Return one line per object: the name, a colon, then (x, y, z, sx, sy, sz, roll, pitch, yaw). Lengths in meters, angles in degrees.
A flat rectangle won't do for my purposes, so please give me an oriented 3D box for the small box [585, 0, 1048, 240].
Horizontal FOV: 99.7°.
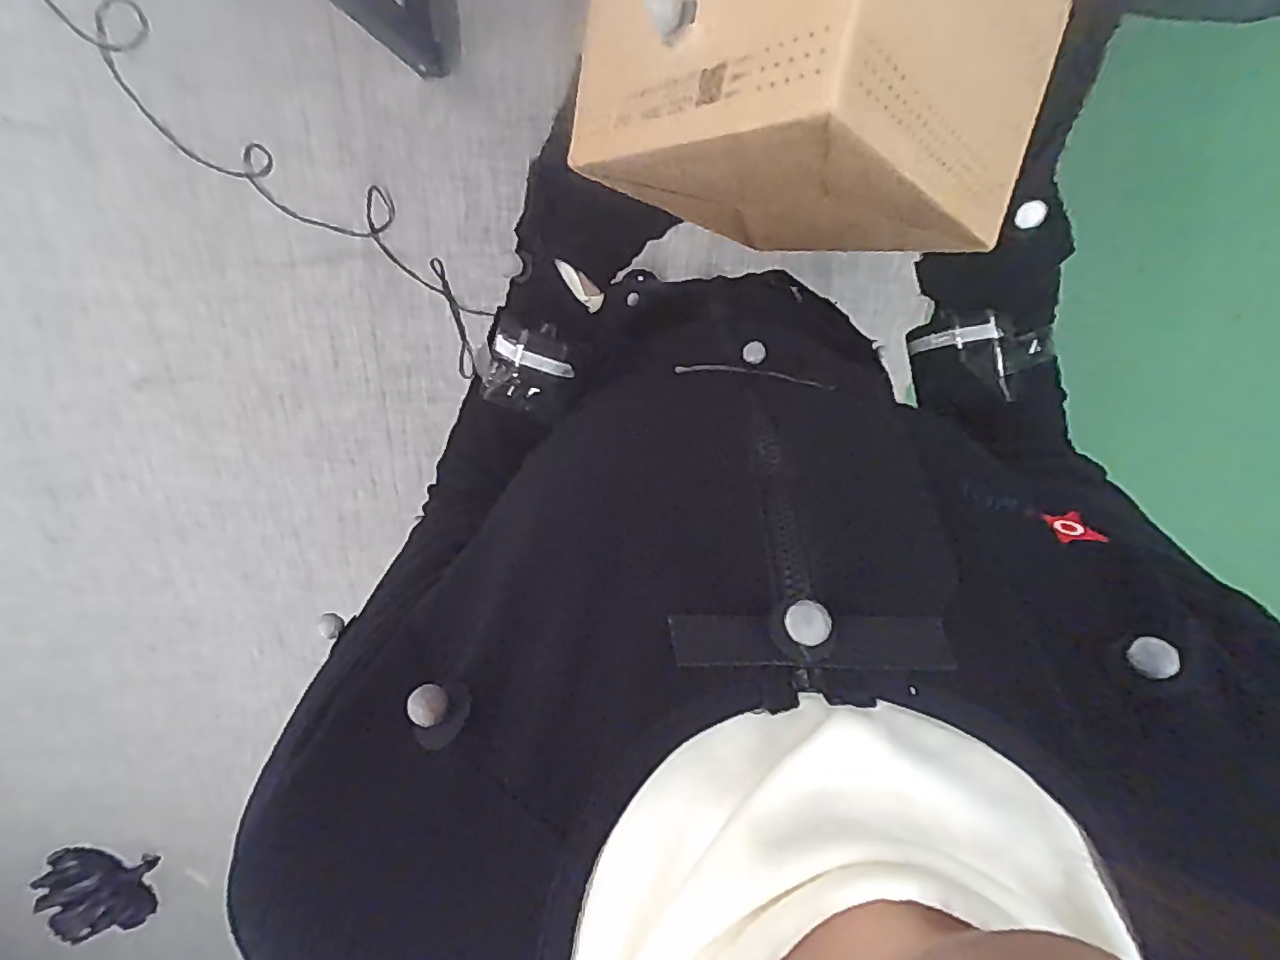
small box: (0.091, -0.236, 0.288, 0.179, 0.168, 0.176, -3, 108, -42)
